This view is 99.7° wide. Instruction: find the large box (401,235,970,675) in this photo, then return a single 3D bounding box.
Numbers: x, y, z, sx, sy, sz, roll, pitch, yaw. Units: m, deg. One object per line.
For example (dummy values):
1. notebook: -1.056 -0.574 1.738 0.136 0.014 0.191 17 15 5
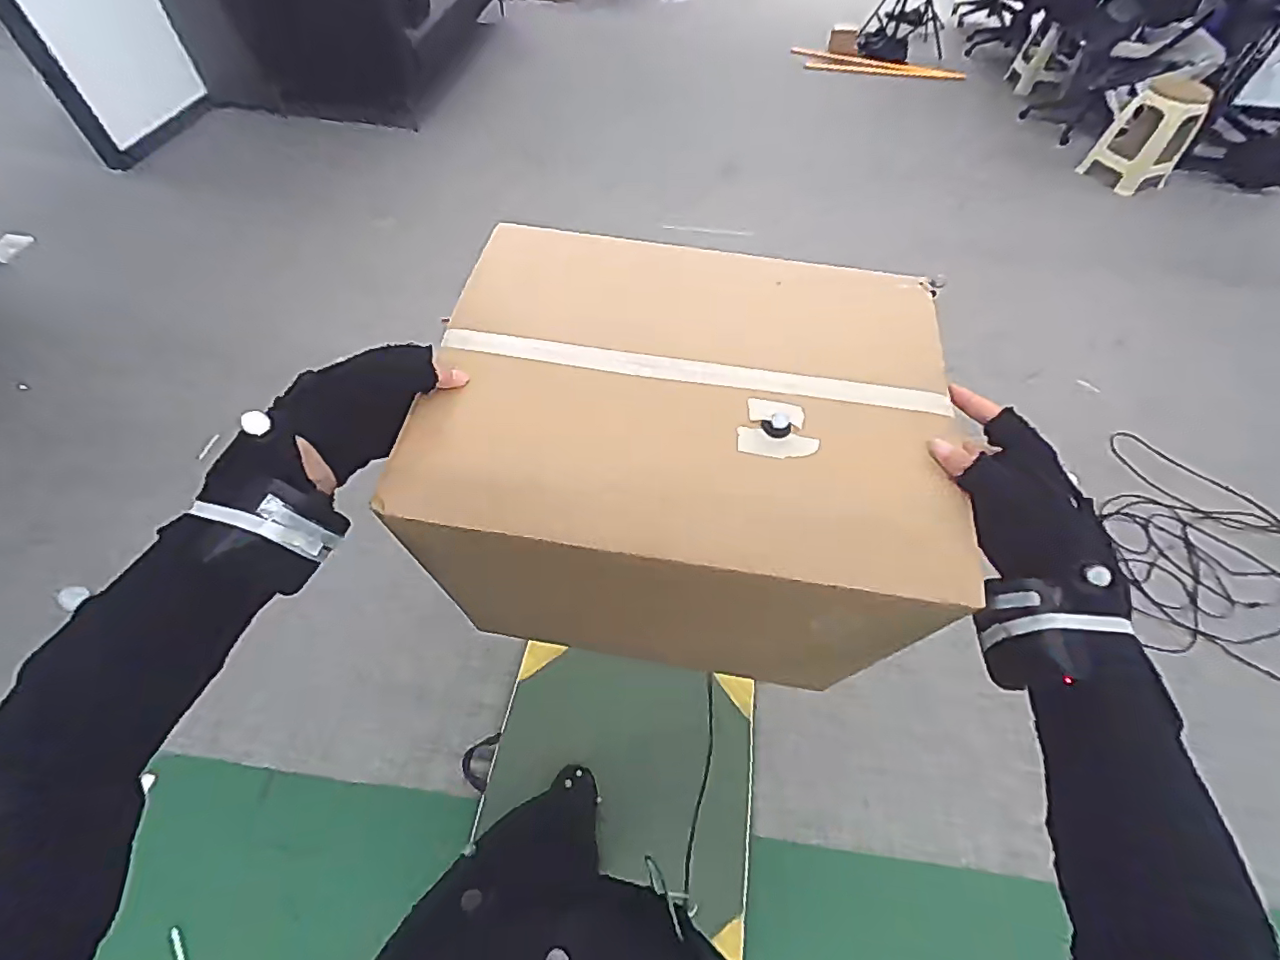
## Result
1. large box: 0.039 -0.008 0.571 0.408 0.320 0.320 9 60 2
